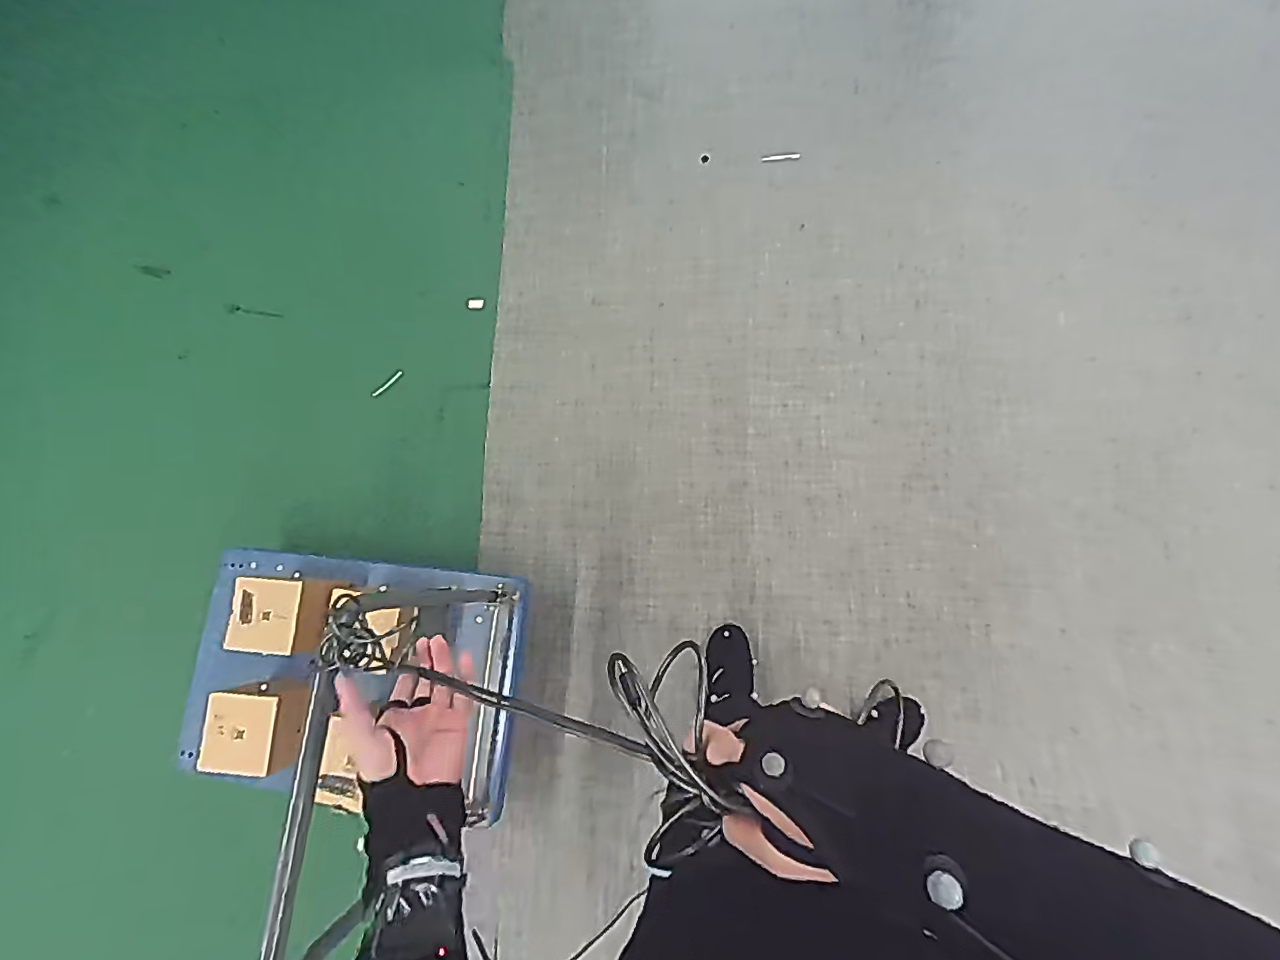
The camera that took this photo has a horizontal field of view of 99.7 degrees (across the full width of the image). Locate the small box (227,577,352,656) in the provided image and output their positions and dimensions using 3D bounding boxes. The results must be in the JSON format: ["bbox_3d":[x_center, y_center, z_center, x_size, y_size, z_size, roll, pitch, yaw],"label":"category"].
[{"bbox_3d":[-0.845,0.327,1.317,0.179,0.176,0.168,3,81,8],"label":"small box"}]

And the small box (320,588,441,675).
[{"bbox_3d":[-0.603,0.351,1.275,0.179,0.176,0.168,6,81,9],"label":"small box"}]

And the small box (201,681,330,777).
[{"bbox_3d":[-0.870,0.578,1.274,0.179,0.176,0.168,1,79,9],"label":"small box"}]
